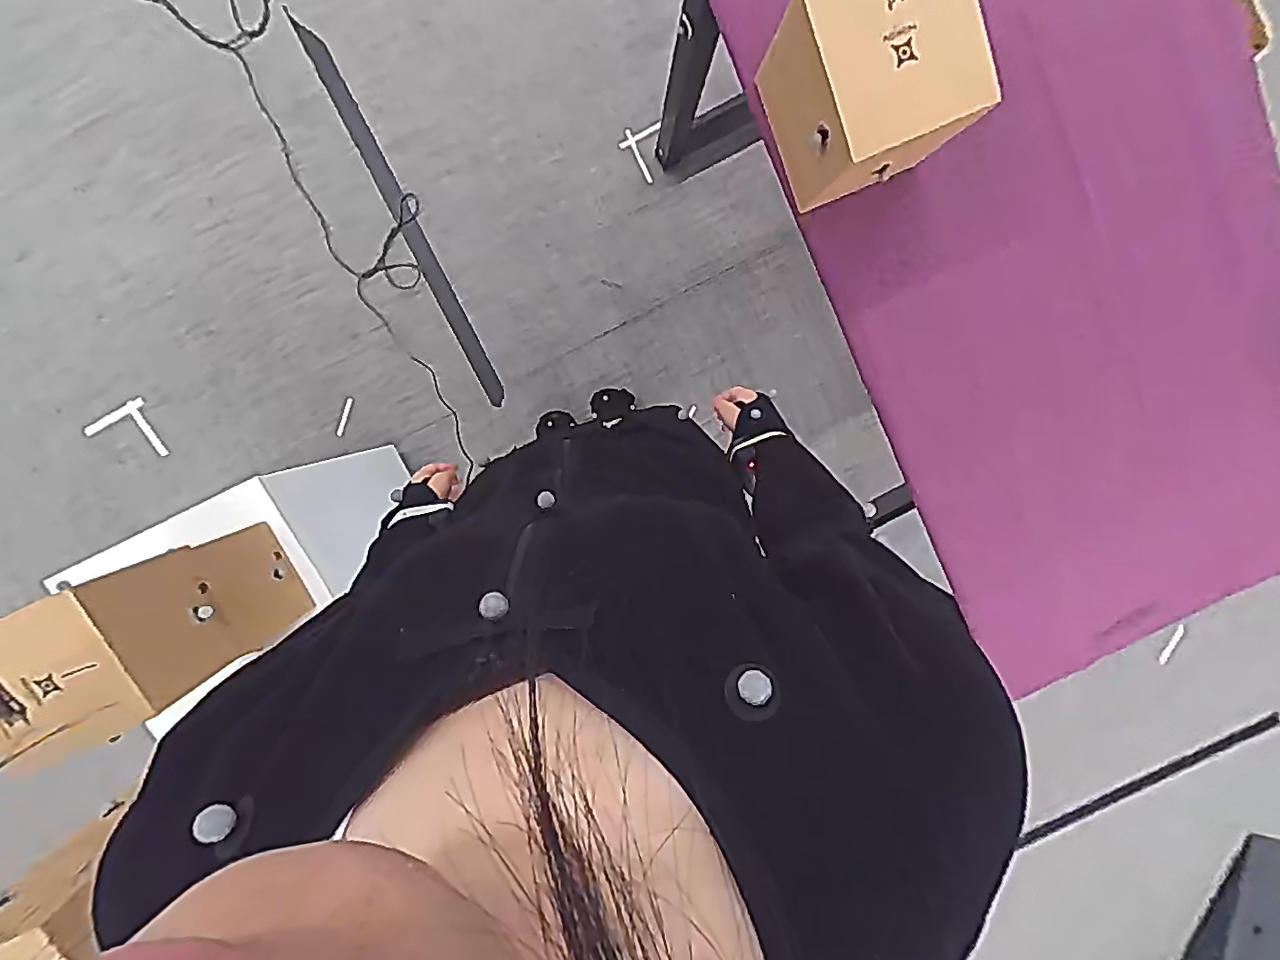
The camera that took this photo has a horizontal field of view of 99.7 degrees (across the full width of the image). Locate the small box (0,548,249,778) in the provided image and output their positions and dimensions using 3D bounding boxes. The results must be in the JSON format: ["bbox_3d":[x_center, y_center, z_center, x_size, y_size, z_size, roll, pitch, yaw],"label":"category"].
[{"bbox_3d":[-0.634,0.204,0.649,0.179,0.176,0.168,-24,100,0],"label":"small box"}]

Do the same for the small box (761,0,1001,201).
[{"bbox_3d":[0.258,-0.446,0.616,0.168,0.176,0.179,-23,100,1],"label":"small box"}]

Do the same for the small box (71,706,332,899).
[{"bbox_3d":[-0.534,0.427,0.693,0.179,0.176,0.168,-27,100,2],"label":"small box"}]

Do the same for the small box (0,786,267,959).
[{"bbox_3d":[-0.529,0.453,0.532,0.179,0.176,0.168,-27,100,1],"label":"small box"}]
